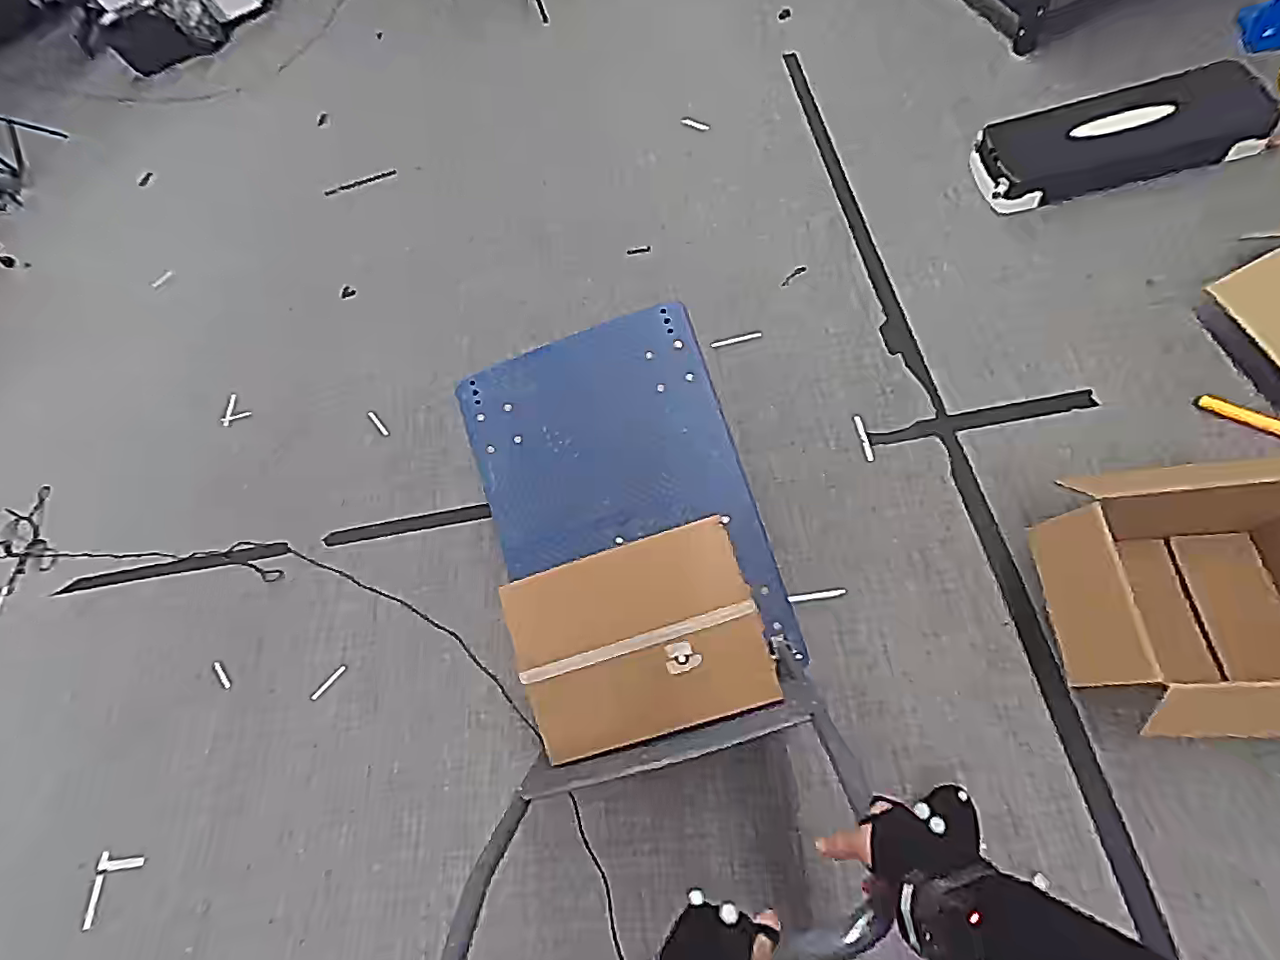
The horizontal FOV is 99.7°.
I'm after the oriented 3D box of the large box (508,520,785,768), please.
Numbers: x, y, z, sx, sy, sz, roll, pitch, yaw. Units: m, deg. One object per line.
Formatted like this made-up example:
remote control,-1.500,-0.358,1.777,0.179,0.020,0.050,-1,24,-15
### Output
large box,0.018,0.287,1.050,0.408,0.320,0.320,-19,85,5
